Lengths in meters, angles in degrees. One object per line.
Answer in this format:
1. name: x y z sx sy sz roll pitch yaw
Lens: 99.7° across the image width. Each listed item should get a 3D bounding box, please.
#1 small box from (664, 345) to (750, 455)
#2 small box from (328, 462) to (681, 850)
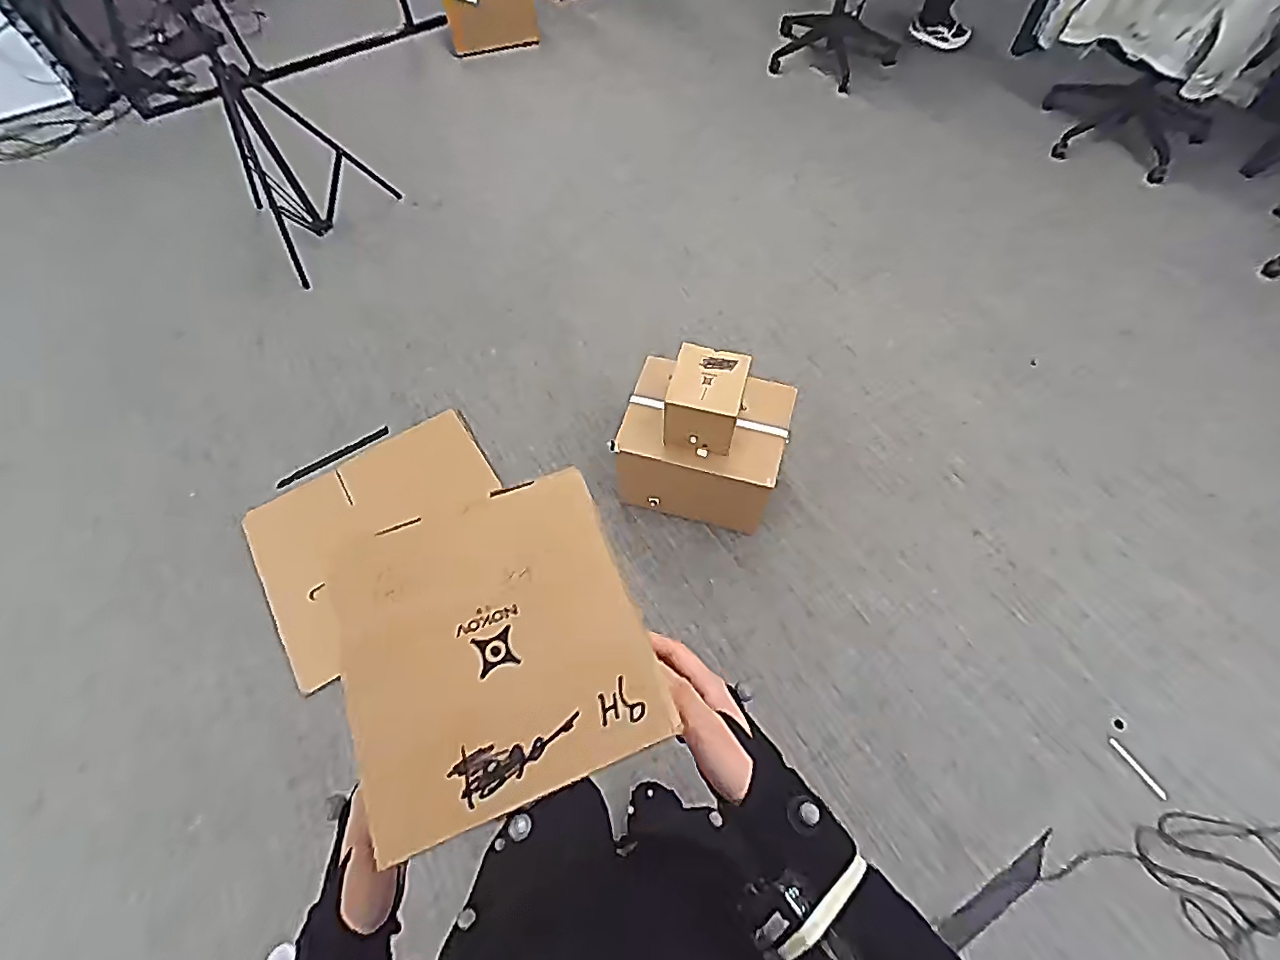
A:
1. small box: 0.154 -0.188 1.284 0.168 0.176 0.179 13 64 9
2. small box: -0.086 0.120 0.382 0.168 0.176 0.179 -21 66 -10
